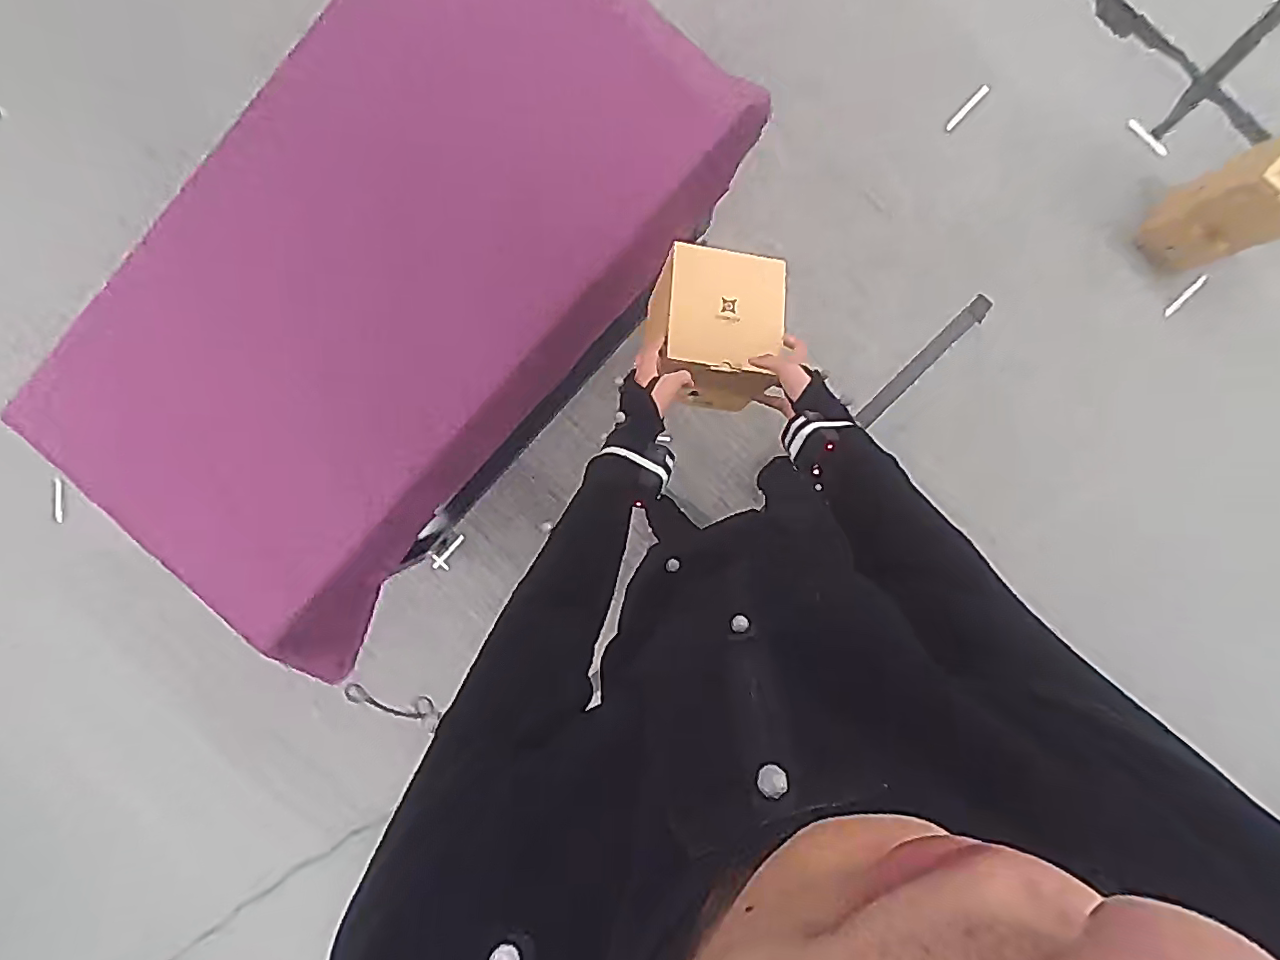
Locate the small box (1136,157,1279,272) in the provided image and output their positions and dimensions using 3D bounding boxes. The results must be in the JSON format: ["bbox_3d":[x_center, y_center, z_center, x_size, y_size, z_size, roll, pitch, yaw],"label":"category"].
[{"bbox_3d":[1.471,-0.680,1.408,0.168,0.176,0.179,40,96,0],"label":"small box"}]

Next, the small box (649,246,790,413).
[{"bbox_3d":[0.112,-0.216,0.817,0.168,0.176,0.179,6,80,-9],"label":"small box"}]
